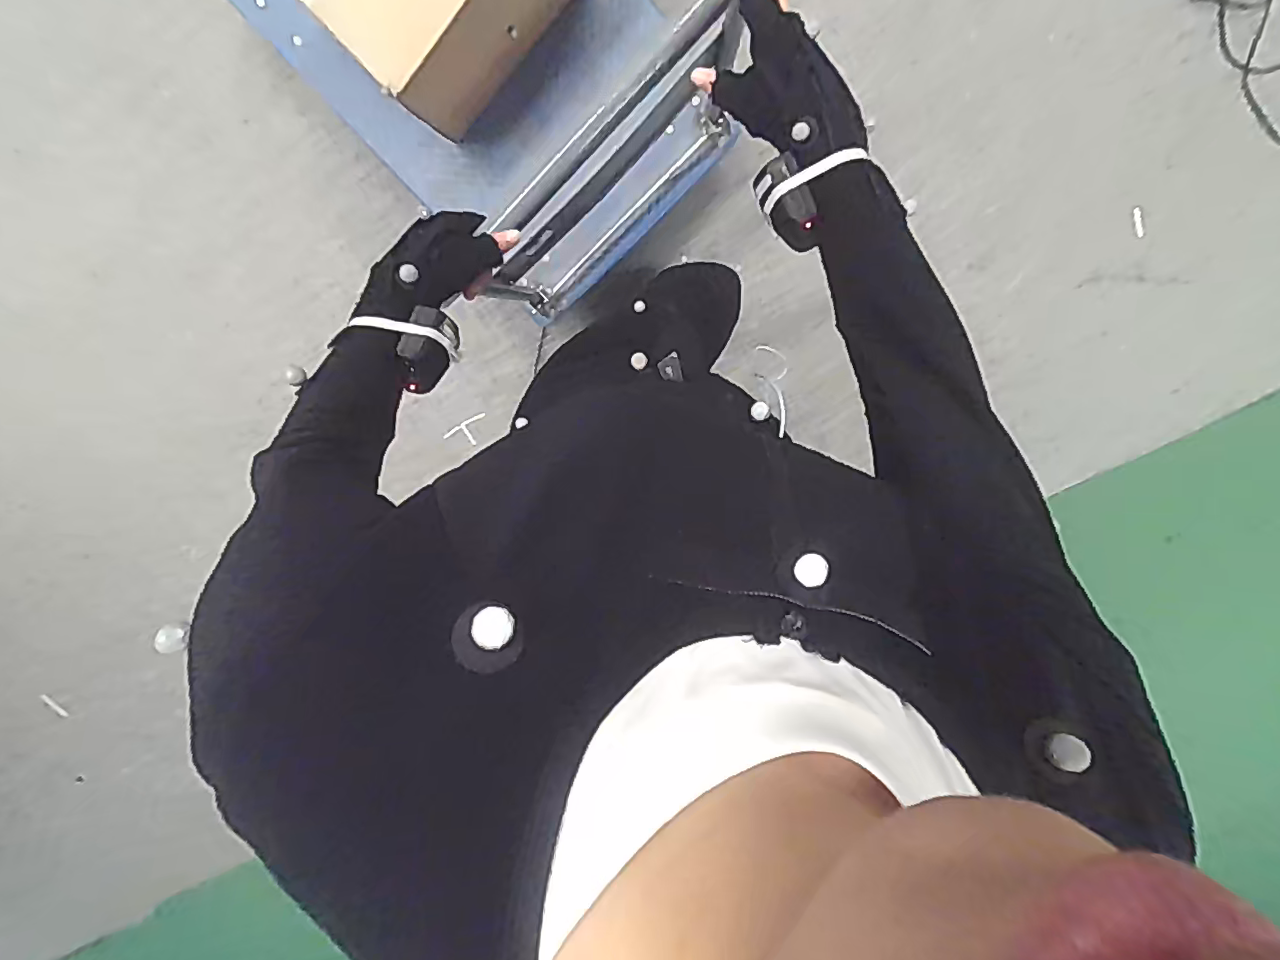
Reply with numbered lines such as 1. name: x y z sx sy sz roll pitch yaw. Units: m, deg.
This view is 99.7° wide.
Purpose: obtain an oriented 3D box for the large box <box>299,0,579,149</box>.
1. large box: -0.315 -0.840 0.864 0.320 0.320 0.408 42 105 -14
